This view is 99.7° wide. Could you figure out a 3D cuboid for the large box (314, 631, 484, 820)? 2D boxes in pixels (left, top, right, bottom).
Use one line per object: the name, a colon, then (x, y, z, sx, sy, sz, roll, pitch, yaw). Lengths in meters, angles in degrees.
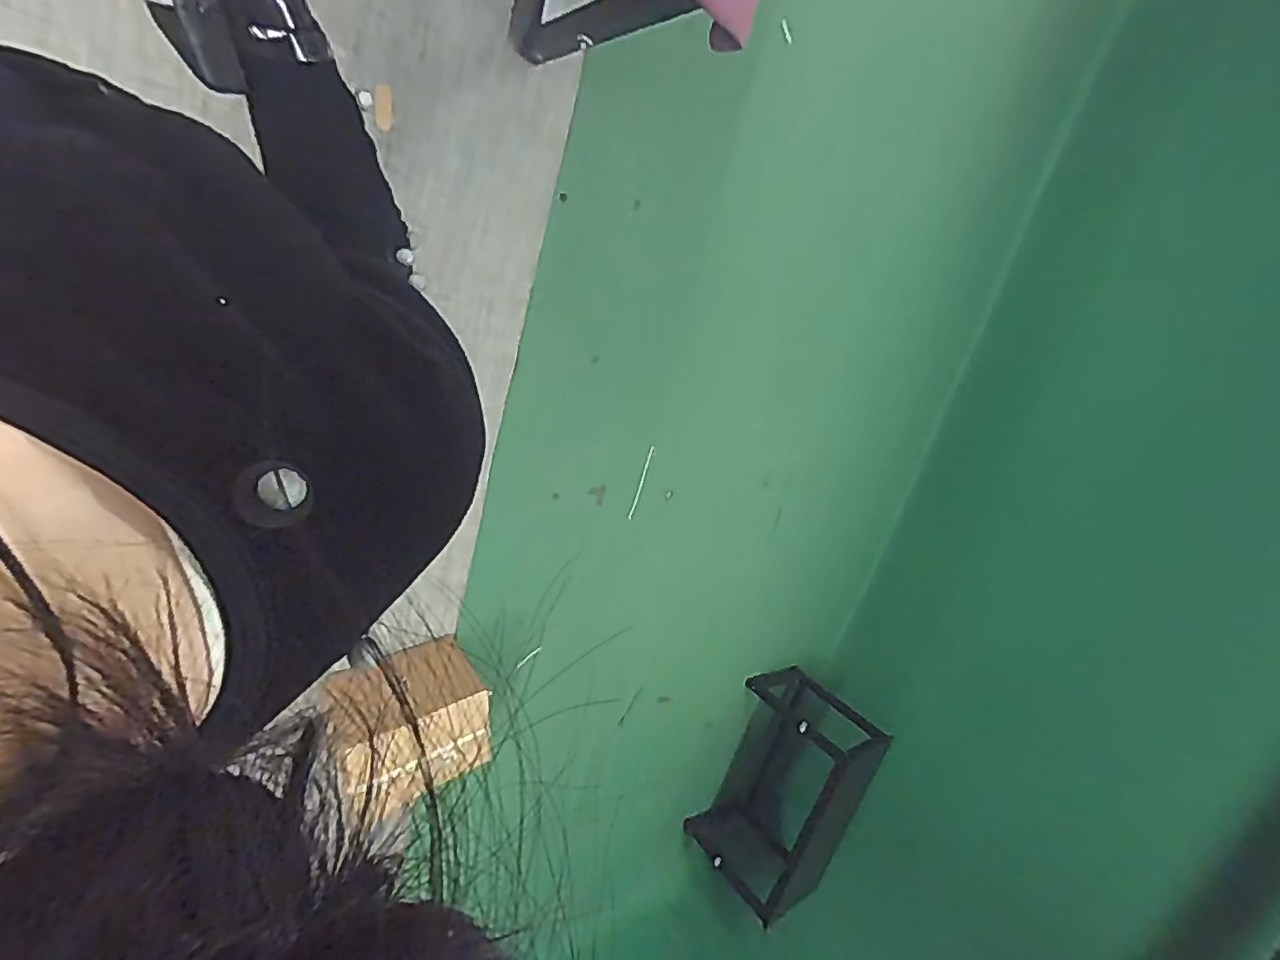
large box: (-0.748, 0.746, 1.704, 0.408, 0.320, 0.320, -14, 122, -38)
